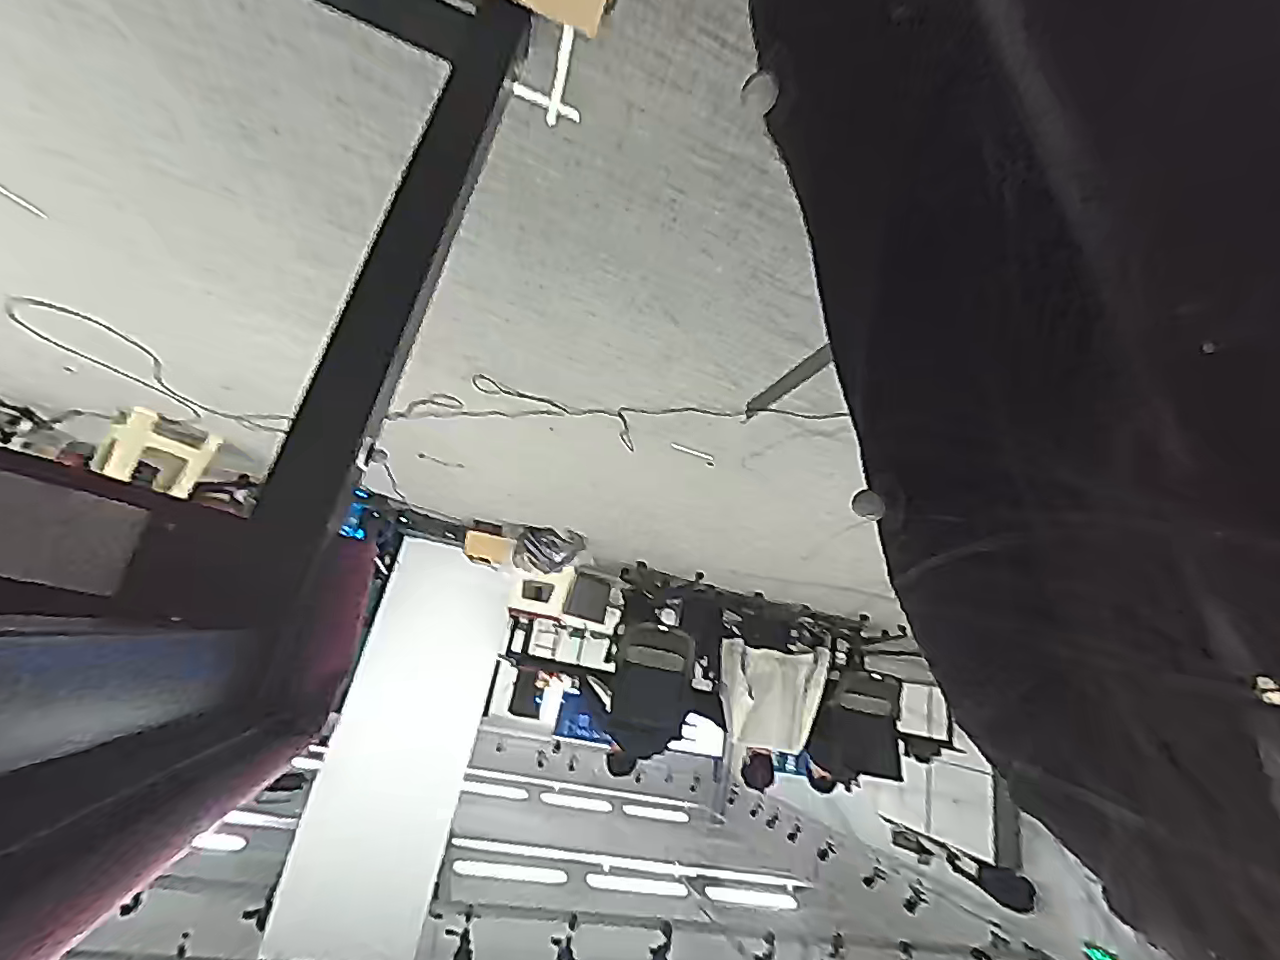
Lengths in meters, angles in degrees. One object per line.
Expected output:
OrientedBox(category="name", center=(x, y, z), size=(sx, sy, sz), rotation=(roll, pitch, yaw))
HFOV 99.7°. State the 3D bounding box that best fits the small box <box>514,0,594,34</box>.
OrientedBox(category="small box", center=(-0.078, -0.487, 0.378), size=(0.179, 0.176, 0.168), rotation=(19, 160, -16))
